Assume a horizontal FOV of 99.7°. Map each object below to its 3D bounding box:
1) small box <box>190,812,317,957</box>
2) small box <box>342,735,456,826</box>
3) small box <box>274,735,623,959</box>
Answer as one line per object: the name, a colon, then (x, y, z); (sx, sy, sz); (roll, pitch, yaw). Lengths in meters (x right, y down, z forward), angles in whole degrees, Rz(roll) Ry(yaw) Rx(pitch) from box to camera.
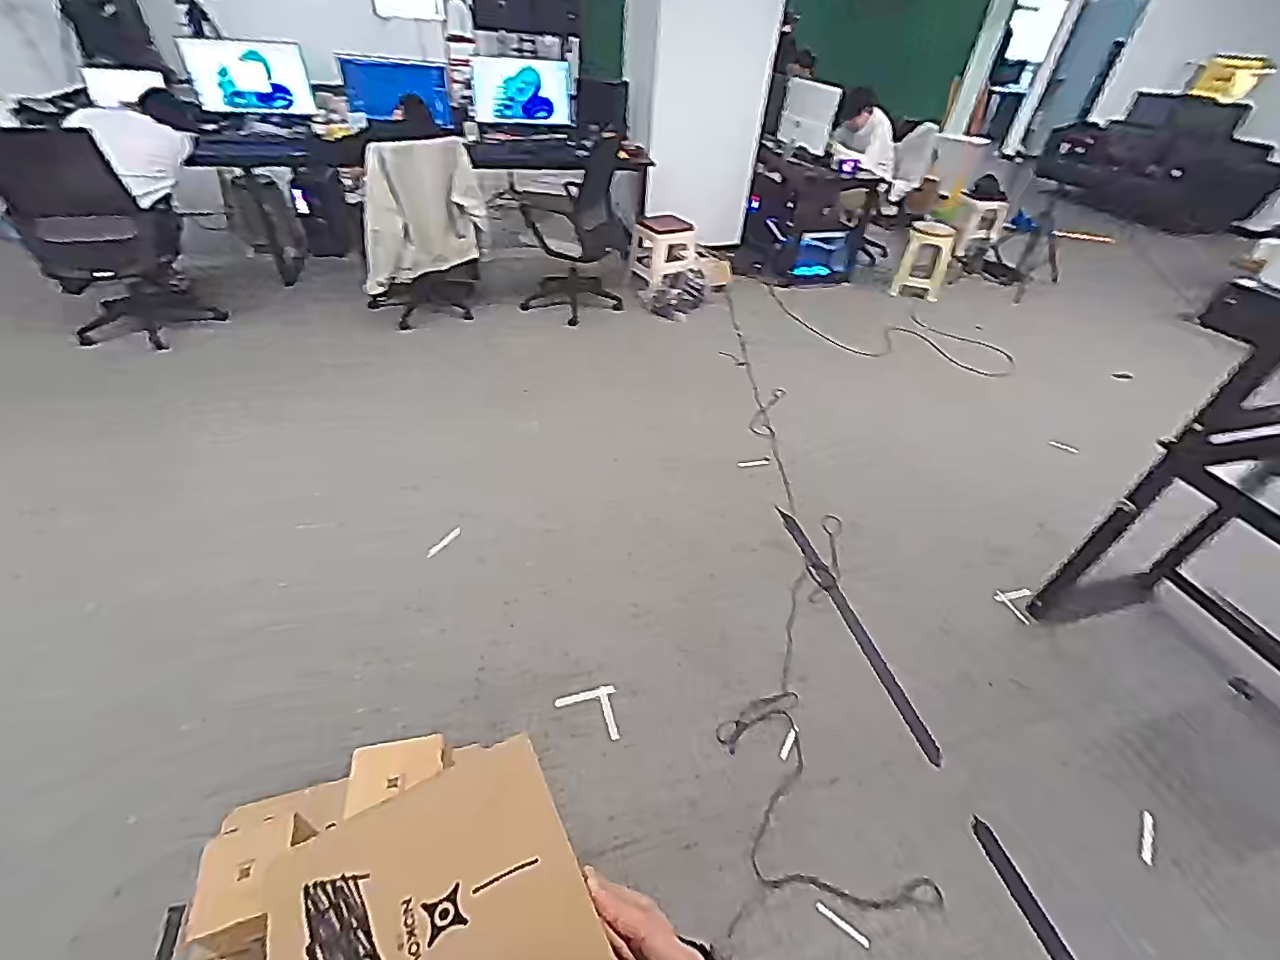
small box: (-0.782, 0.838, 1.123); (0.168, 0.176, 0.179); (-13, 43, -17)
small box: (-0.483, 0.655, 1.109); (0.179, 0.176, 0.168); (-5, 42, -12)
small box: (-0.110, 0.319, 0.359); (0.179, 0.176, 0.168); (-19, 39, -20)
